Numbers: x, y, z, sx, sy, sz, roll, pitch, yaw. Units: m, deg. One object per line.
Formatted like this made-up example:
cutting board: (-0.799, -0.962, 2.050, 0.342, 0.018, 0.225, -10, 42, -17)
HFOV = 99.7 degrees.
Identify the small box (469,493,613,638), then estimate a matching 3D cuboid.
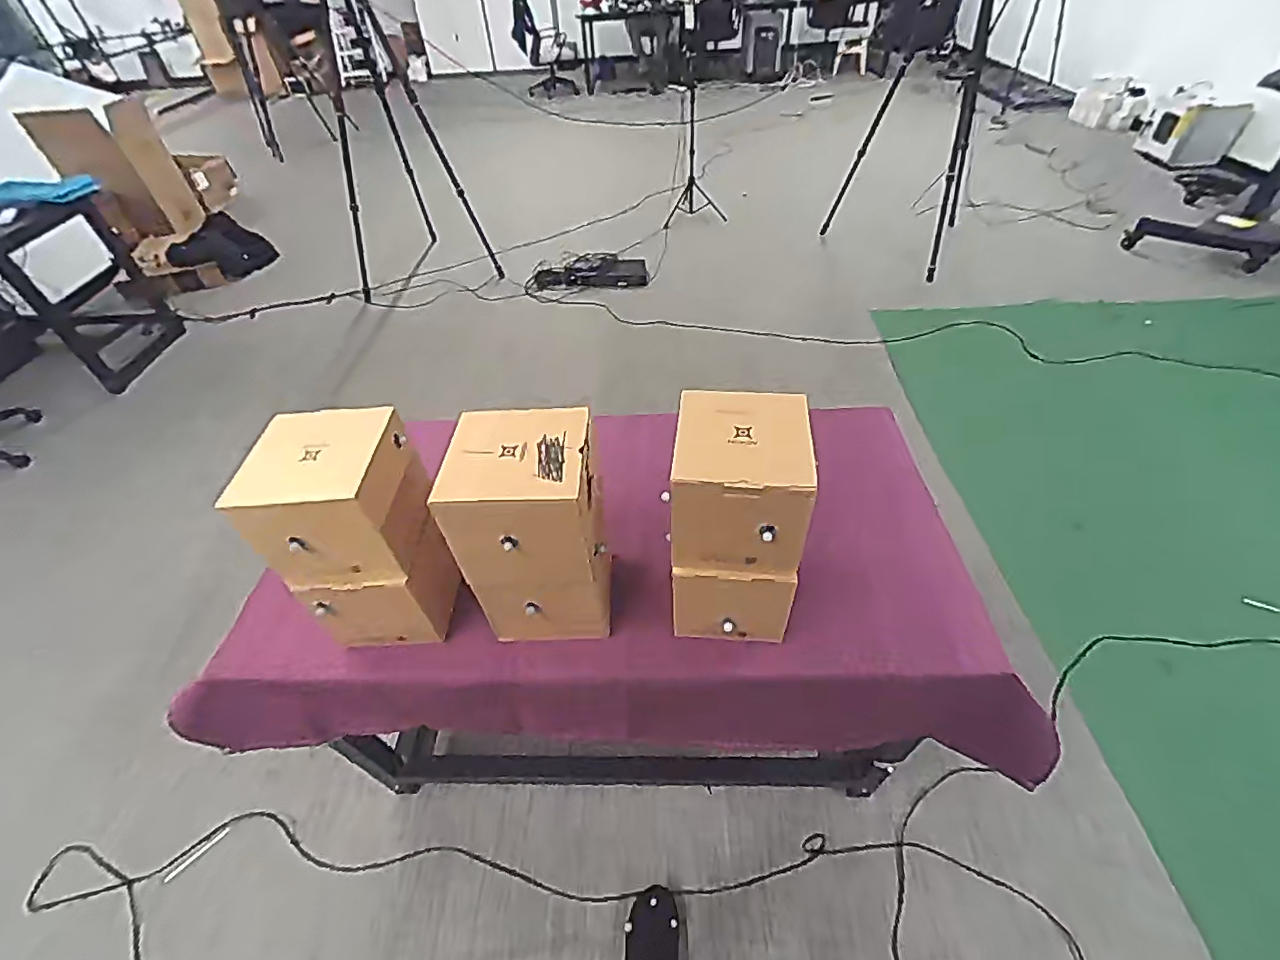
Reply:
small box: (-0.140, 0.133, 0.839, 0.179, 0.176, 0.168, -3, 46, 3)

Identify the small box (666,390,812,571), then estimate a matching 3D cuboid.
small box: (0.127, 0.001, 0.714, 0.168, 0.176, 0.179, 4, 45, 8)

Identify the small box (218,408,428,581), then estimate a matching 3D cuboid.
small box: (-0.409, 0.025, 0.741, 0.168, 0.176, 0.179, -5, 45, 0)

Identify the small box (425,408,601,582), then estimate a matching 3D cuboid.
small box: (-0.150, 0.023, 0.716, 0.179, 0.176, 0.168, -2, 45, 4)

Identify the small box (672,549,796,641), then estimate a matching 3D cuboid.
small box: (0.136, 0.121, 0.823, 0.168, 0.176, 0.179, 2, 46, 7)
